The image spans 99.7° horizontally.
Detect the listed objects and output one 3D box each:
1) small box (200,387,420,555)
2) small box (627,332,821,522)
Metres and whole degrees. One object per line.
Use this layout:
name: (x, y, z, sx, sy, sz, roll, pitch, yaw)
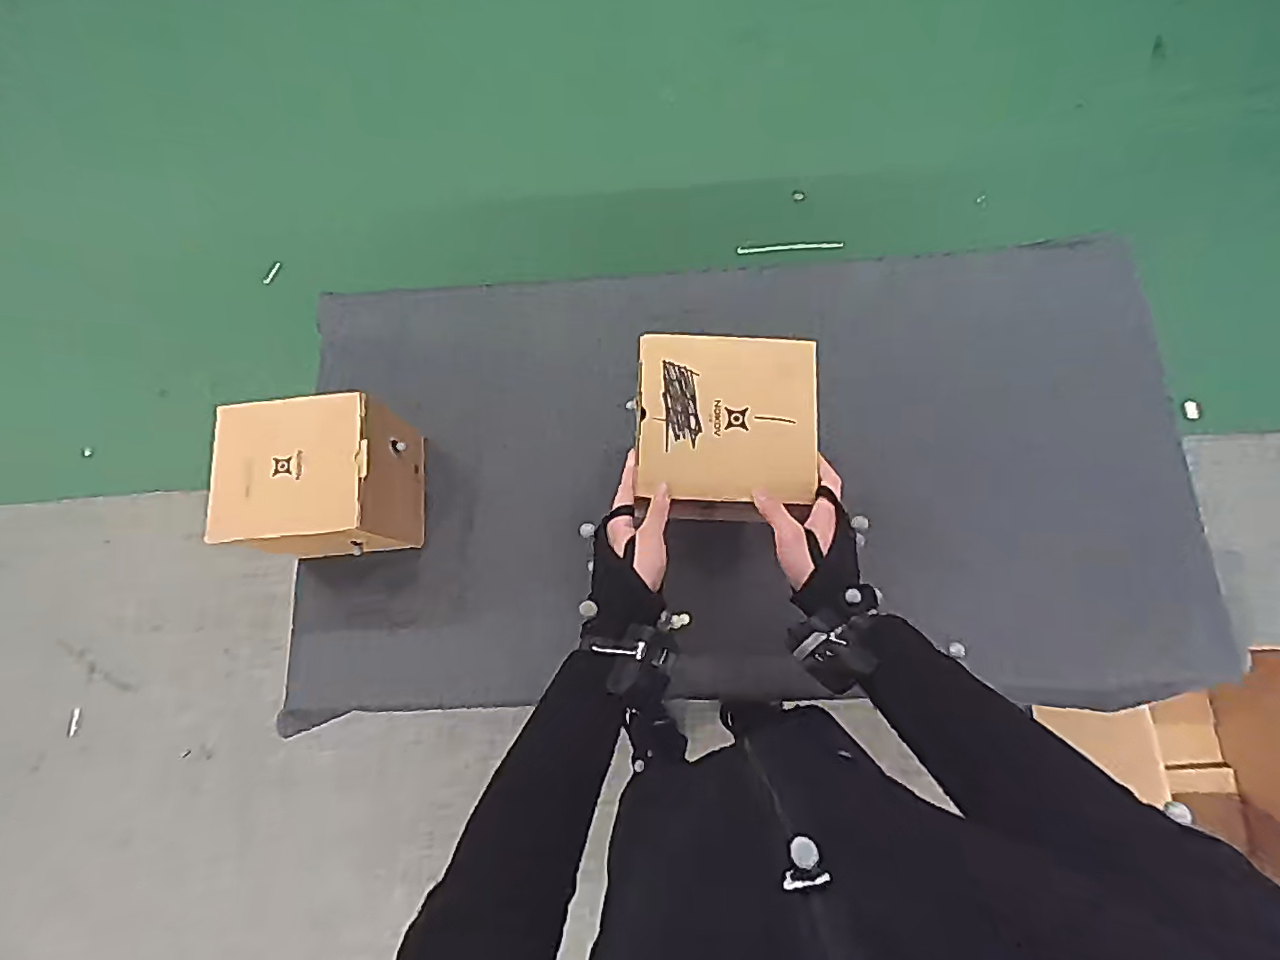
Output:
small box: (-0.393, -0.002, 0.678, 0.179, 0.176, 0.168, -6, 76, 3)
small box: (0.082, -0.046, 0.596, 0.179, 0.176, 0.168, 6, 82, 0)
